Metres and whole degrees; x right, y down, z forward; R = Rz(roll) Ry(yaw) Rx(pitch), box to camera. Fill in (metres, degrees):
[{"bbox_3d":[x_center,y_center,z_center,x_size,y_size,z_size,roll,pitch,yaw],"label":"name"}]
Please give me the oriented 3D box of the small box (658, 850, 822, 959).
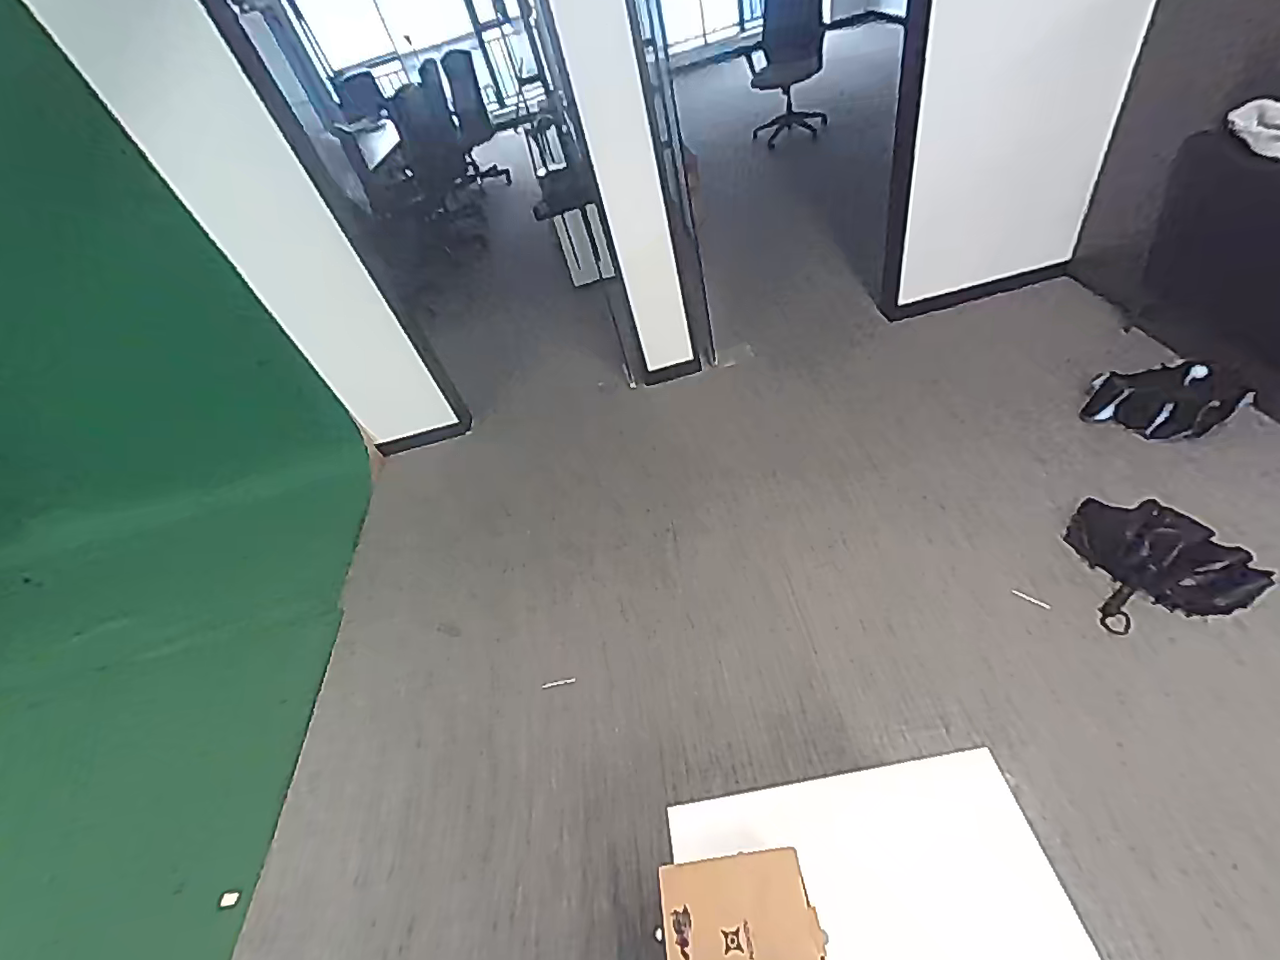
[{"bbox_3d":[0.127,0.579,0.669,0.179,0.176,0.168,-11,45,5],"label":"small box"}]
